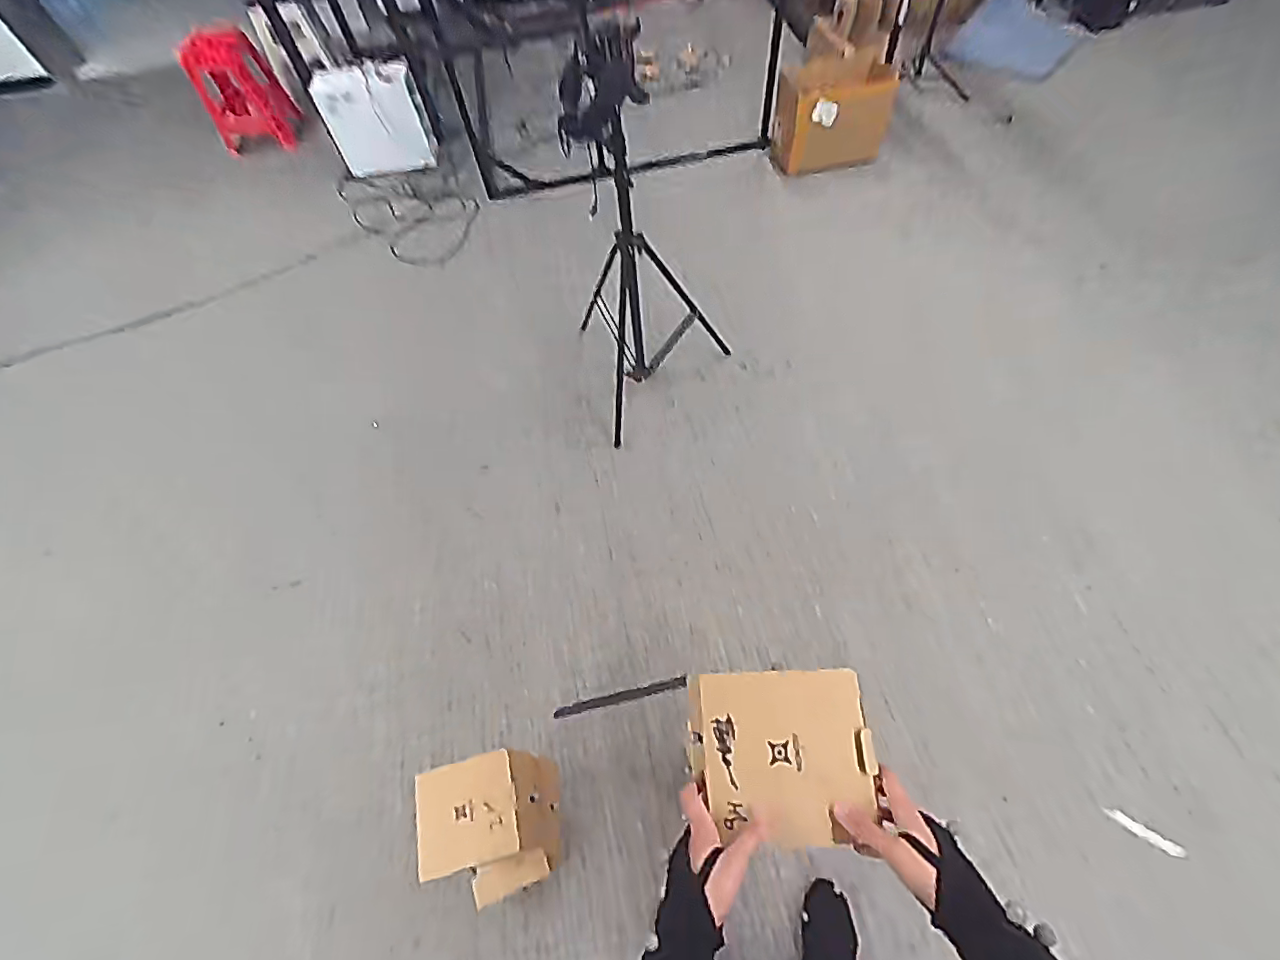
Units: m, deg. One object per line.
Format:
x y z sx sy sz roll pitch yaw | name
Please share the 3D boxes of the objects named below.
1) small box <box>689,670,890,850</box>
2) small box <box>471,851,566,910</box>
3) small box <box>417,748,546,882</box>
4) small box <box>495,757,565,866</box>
0.154 0.310 0.624 0.179 0.176 0.168 -1 67 0 | small box
-0.285 0.840 1.241 0.168 0.176 0.179 -22 60 -7 | small box
-0.288 0.614 0.995 0.179 0.176 0.168 -16 58 -3 | small box
-0.258 0.696 1.135 0.168 0.176 0.179 -10 59 1 | small box
